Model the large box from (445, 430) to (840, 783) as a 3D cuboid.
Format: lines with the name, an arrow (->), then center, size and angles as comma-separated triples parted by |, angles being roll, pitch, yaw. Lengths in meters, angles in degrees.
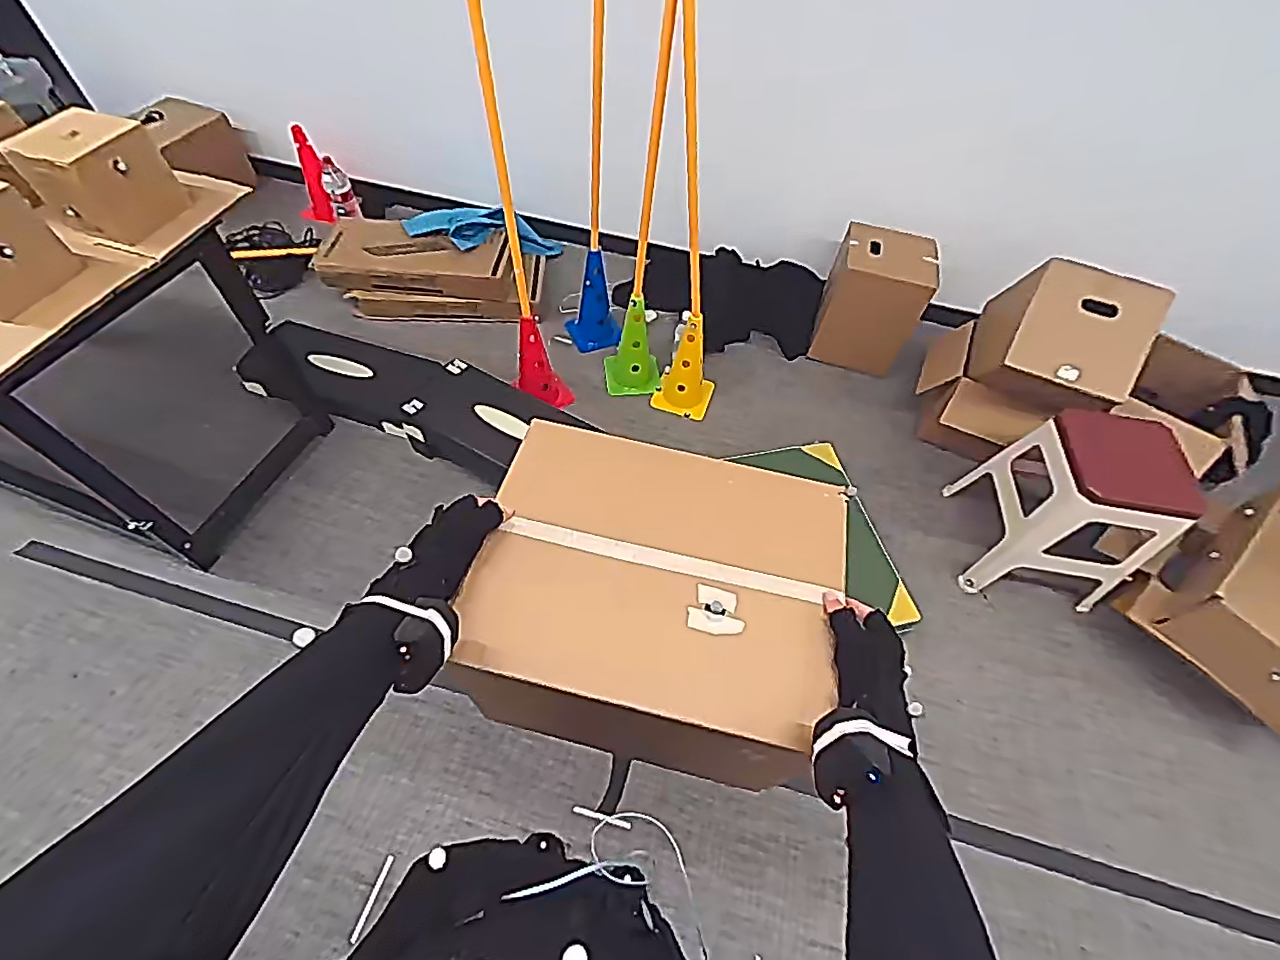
large box -> 0.015, 0.179, 0.732 | 0.408, 0.320, 0.320 | 13, 56, 4
